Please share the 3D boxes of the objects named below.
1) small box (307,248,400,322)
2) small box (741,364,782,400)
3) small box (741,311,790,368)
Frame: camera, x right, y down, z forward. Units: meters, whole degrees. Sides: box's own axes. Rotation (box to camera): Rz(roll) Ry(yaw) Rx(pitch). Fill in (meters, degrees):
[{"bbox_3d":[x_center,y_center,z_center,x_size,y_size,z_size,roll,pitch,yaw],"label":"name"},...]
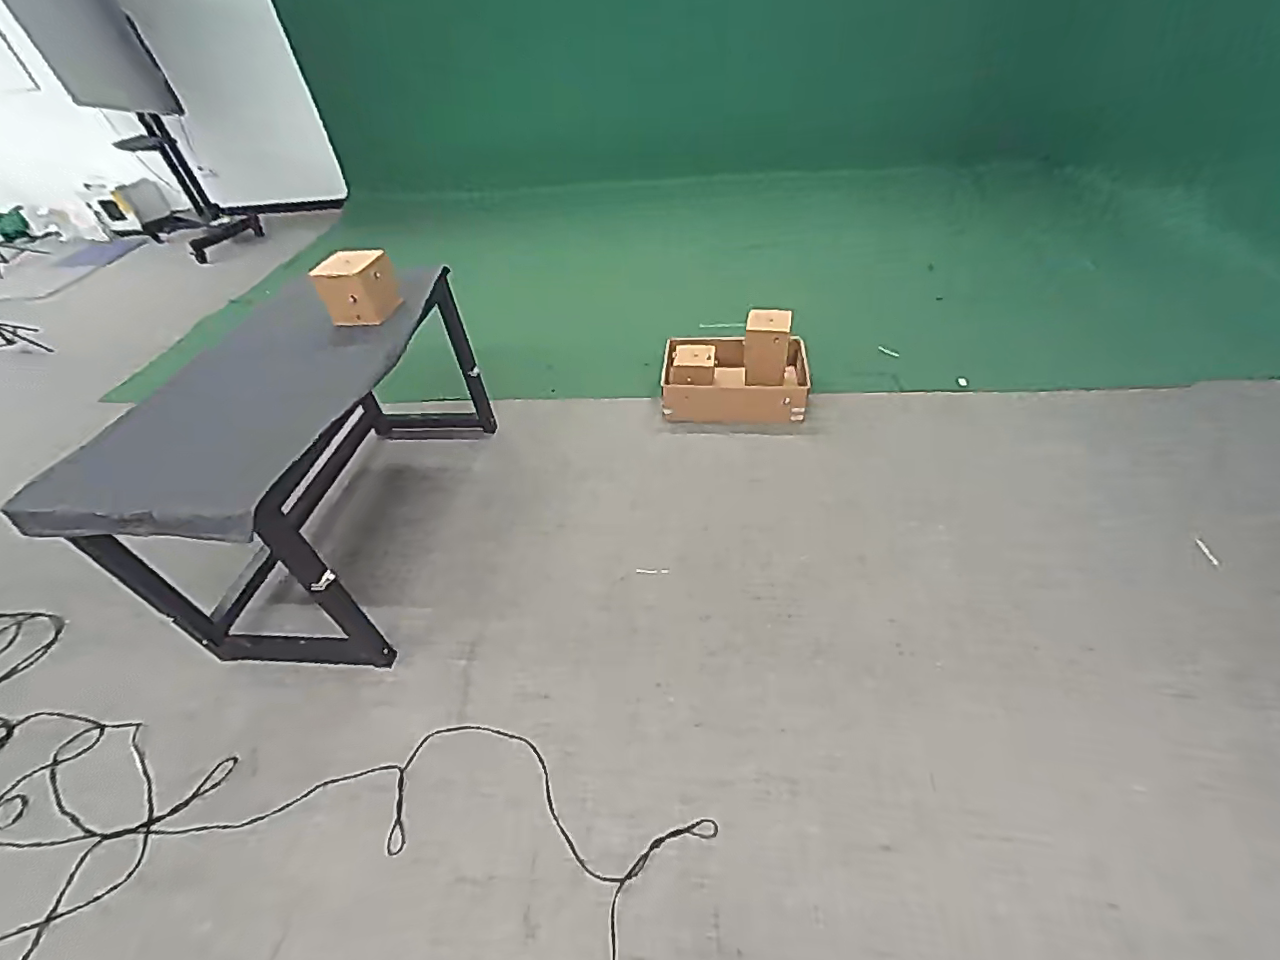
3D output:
[{"bbox_3d":[-0.884,-0.608,1.691,0.168,0.176,0.179,3,44,9],"label":"small box"},{"bbox_3d":[0.540,-0.476,2.392,0.168,0.176,0.179,6,47,13],"label":"small box"},{"bbox_3d":[0.527,-0.589,2.273,0.179,0.176,0.168,7,46,13],"label":"small box"}]
